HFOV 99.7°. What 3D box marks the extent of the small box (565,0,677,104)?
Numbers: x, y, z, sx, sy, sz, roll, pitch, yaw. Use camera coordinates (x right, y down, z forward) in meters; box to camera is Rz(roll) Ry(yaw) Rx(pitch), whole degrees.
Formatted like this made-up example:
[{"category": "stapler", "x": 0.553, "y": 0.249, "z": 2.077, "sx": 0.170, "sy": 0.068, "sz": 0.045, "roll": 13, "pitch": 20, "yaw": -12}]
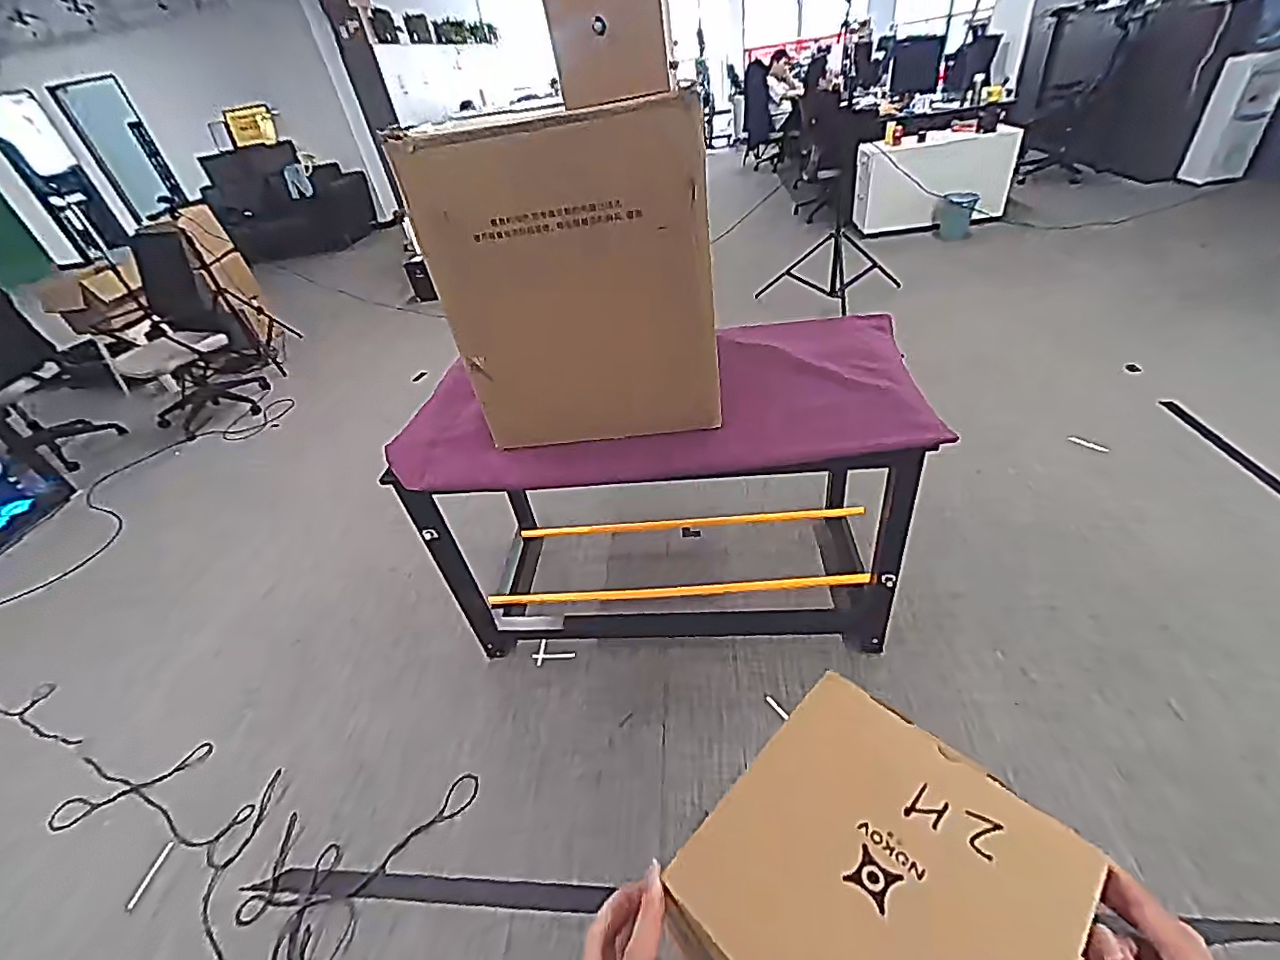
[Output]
[{"category": "small box", "x": -0.028, "y": -0.814, "z": 1.003, "sx": 0.179, "sy": 0.176, "sz": 0.168, "roll": -5, "pitch": 38, "yaw": 7}]
